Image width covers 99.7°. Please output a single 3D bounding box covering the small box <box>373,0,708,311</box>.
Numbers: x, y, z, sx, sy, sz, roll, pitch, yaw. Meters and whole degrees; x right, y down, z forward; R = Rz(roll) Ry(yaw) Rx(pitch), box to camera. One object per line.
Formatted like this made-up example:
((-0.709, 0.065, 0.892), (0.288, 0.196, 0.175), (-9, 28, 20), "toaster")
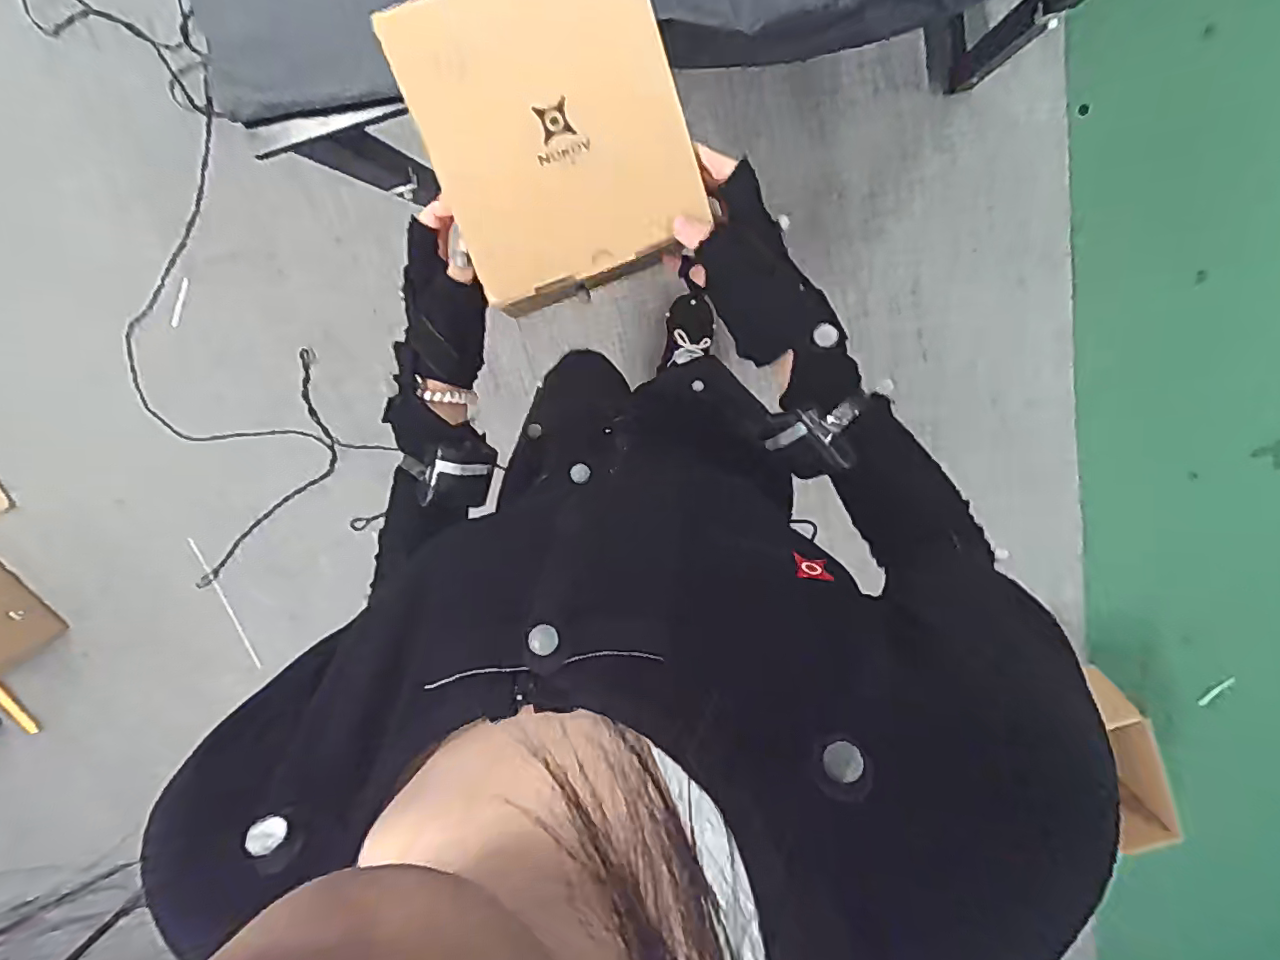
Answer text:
((-0.070, -0.245, 0.423), (0.168, 0.176, 0.179), (-23, 108, -3), "small box")
